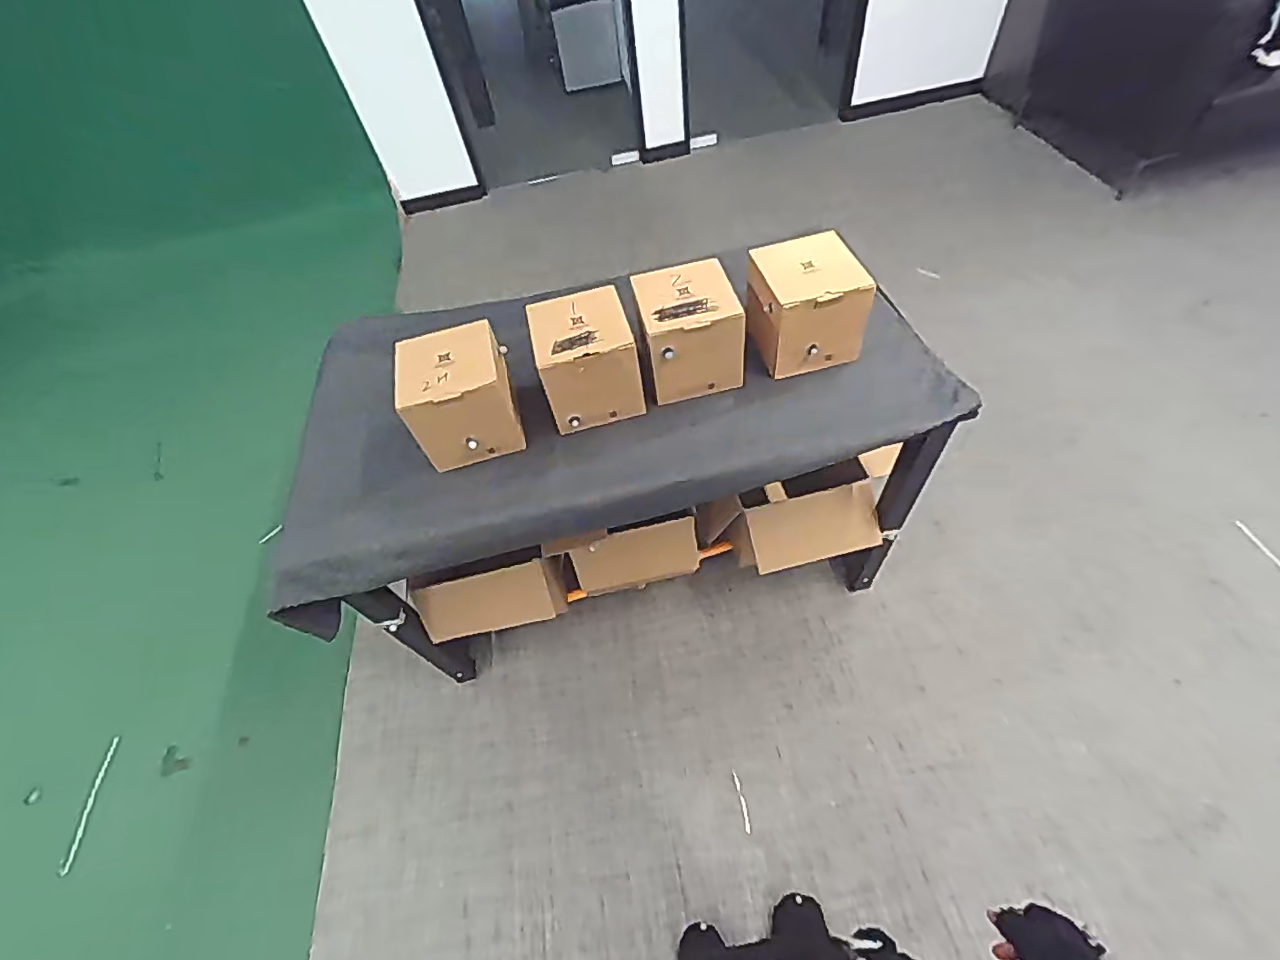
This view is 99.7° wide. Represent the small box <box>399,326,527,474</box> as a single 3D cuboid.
[{"bbox_3d":[-0.313,-0.141,0.969,0.168,0.176,0.179,-17,54,-3],"label":"small box"}]

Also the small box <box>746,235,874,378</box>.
[{"bbox_3d":[0.302,-0.319,1.007,0.168,0.176,0.179,-14,54,-2],"label":"small box"}]
